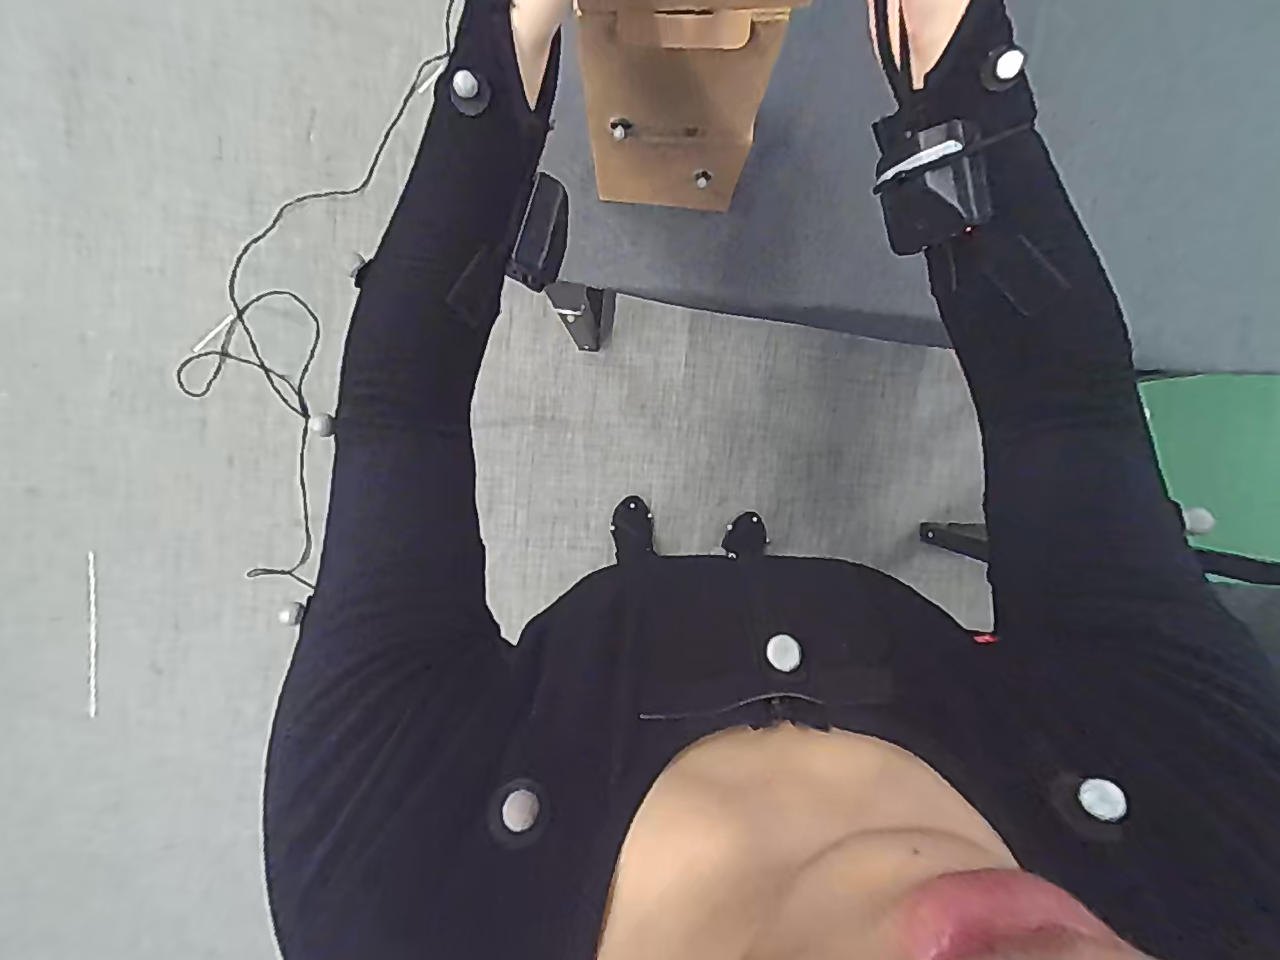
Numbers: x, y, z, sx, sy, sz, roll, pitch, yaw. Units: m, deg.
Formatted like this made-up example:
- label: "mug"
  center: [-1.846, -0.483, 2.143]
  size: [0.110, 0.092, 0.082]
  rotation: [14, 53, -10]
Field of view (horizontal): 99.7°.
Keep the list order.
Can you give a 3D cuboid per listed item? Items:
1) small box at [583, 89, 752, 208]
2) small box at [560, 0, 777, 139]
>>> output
- label: "small box"
  center: [0.032, -0.446, 0.645]
  size: [0.179, 0.176, 0.168]
  rotation: [4, 92, 0]
- label: "small box"
  center: [0.023, -0.436, 0.481]
  size: [0.168, 0.176, 0.179]
  rotation: [0, 92, -1]
